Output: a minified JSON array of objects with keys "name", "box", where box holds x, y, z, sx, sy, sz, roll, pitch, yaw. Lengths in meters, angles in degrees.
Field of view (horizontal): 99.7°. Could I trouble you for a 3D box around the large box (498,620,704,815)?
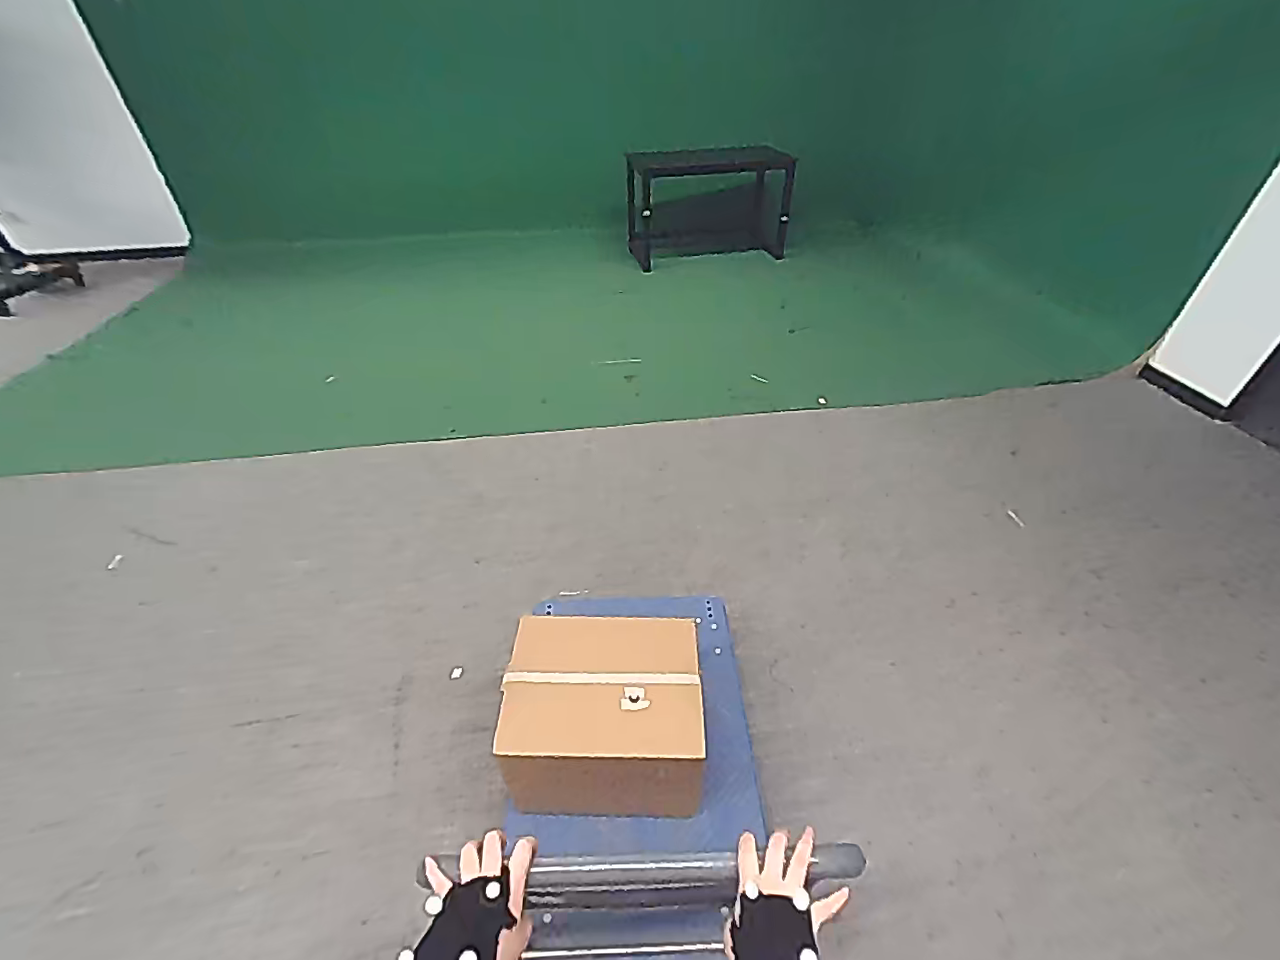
[{"name":"large box","box":[-0.081,0.543,1.240,0.408,0.320,0.320,2,40,-1]}]
